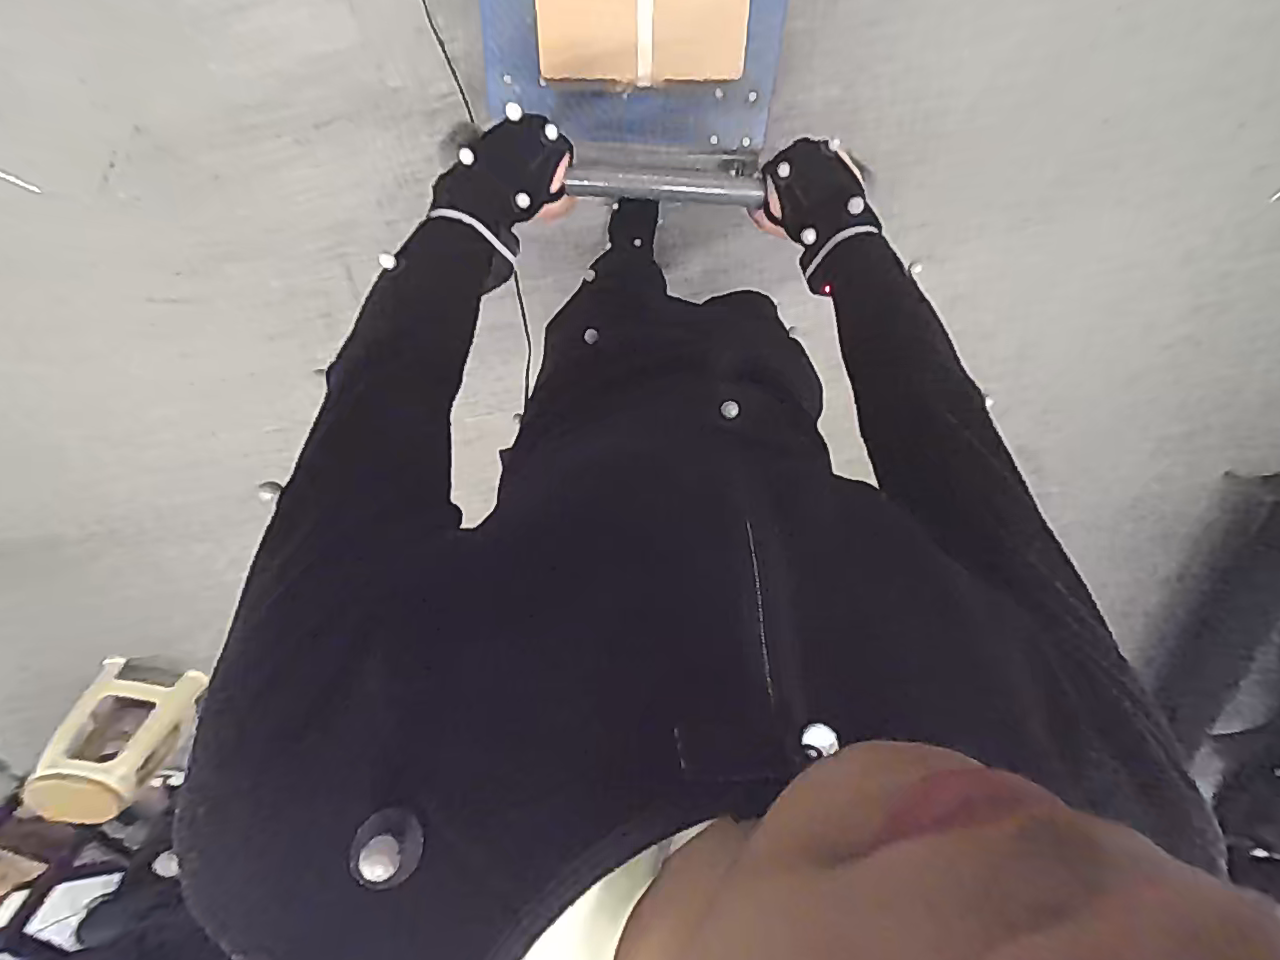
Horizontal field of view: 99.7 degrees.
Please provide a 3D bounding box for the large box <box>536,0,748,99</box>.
[{"bbox_3d":[-0.004,-0.864,0.862,0.320,0.320,0.408,-3,123,-3],"label":"large box"}]
